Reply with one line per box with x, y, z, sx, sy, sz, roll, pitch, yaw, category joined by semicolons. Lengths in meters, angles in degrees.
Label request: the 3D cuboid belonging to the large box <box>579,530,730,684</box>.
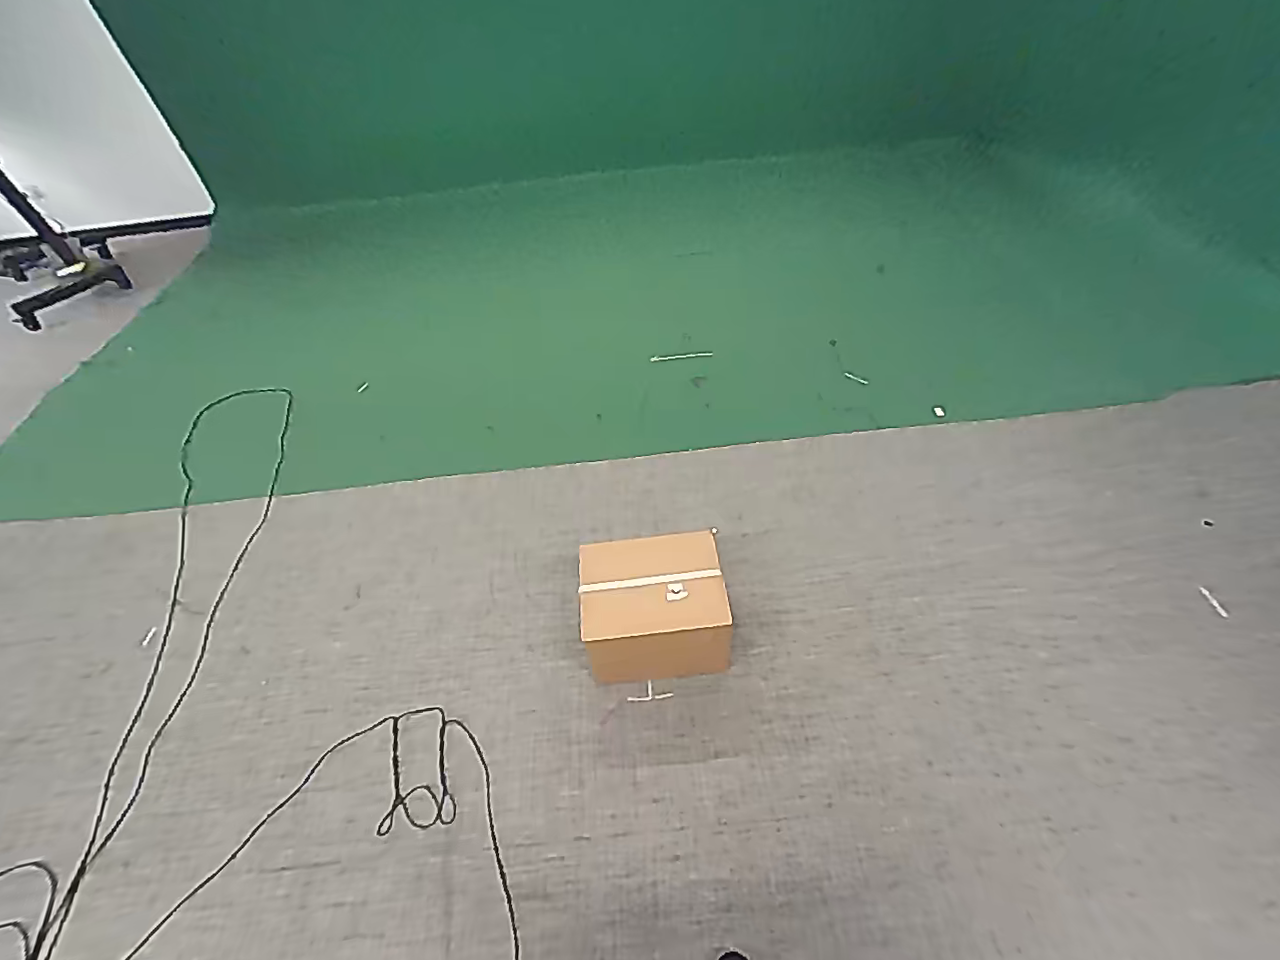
0.038;0.390;1.644;0.408;0.320;0.320;-7;48;-1;large box
